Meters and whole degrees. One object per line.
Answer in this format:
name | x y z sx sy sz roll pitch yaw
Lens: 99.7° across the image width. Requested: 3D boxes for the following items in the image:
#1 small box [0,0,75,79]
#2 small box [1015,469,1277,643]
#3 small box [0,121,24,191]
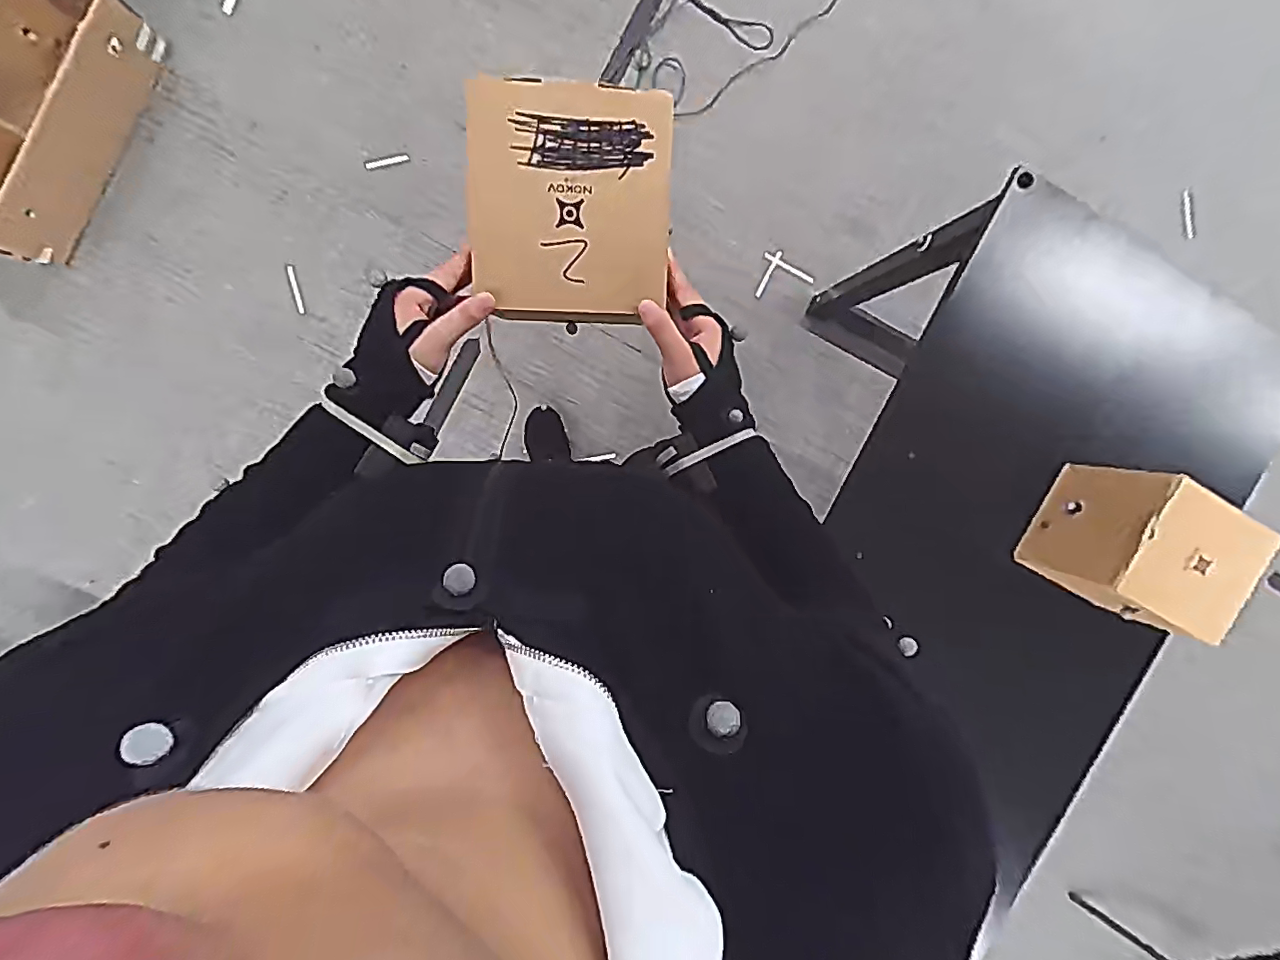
small box | -1.378 -1.001 1.140 0.179 0.176 0.168 31 93 -10
small box | 0.692 0.093 0.760 0.179 0.176 0.168 28 93 -7
small box | -1.508 -0.742 1.156 0.168 0.176 0.179 28 91 -10
